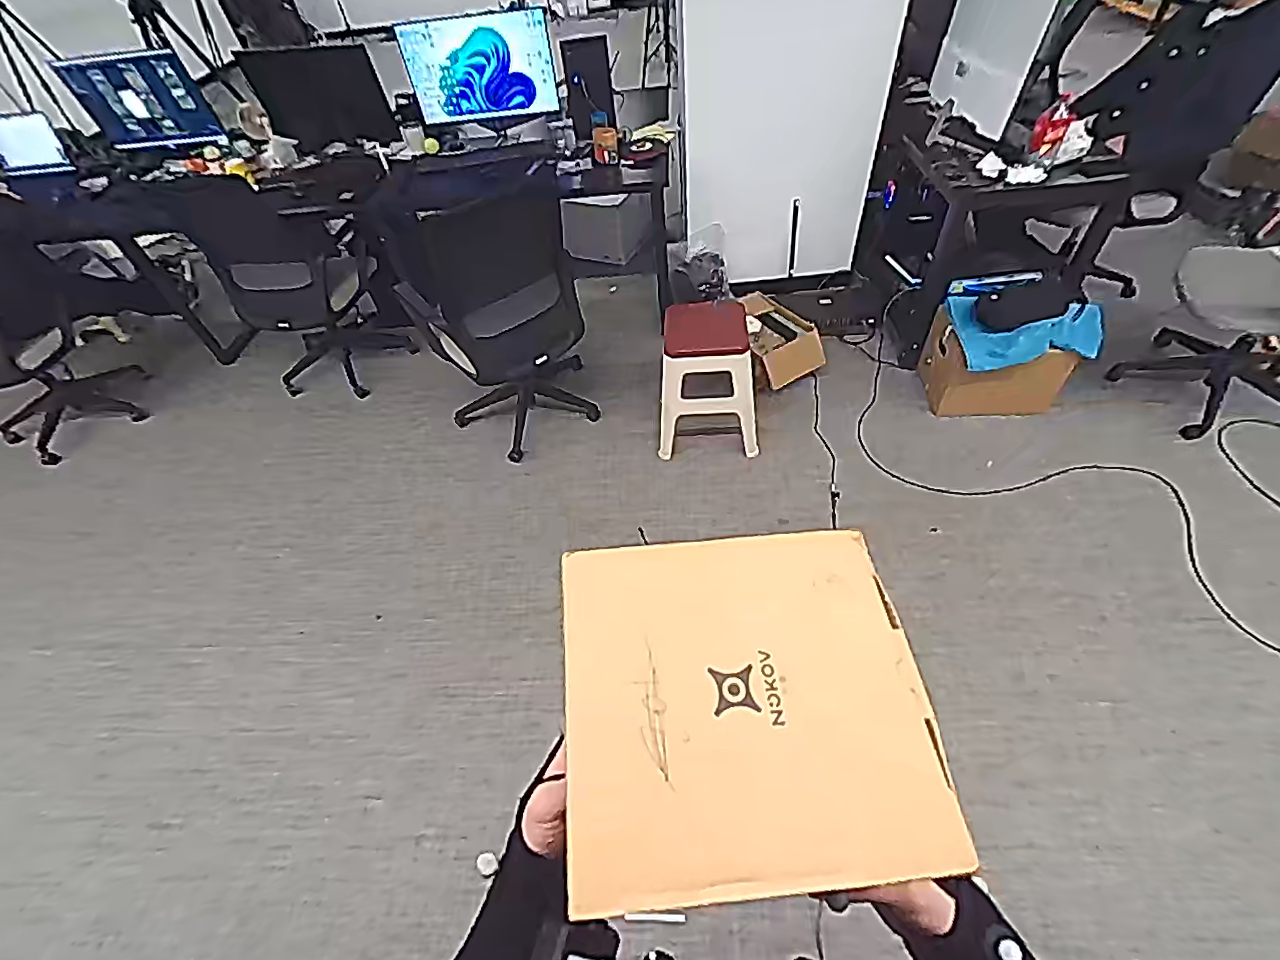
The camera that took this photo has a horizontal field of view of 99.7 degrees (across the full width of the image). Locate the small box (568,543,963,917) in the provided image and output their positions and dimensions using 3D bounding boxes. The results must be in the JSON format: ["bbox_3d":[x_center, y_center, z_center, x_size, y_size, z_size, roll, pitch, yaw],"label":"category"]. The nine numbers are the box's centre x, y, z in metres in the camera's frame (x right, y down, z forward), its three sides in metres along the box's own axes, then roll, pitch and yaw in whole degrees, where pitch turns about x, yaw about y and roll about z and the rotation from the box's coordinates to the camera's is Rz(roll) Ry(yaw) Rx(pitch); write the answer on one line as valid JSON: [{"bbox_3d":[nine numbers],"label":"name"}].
[{"bbox_3d":[0.051,0.156,0.343,0.179,0.176,0.168,-5,56,-2],"label":"small box"}]
